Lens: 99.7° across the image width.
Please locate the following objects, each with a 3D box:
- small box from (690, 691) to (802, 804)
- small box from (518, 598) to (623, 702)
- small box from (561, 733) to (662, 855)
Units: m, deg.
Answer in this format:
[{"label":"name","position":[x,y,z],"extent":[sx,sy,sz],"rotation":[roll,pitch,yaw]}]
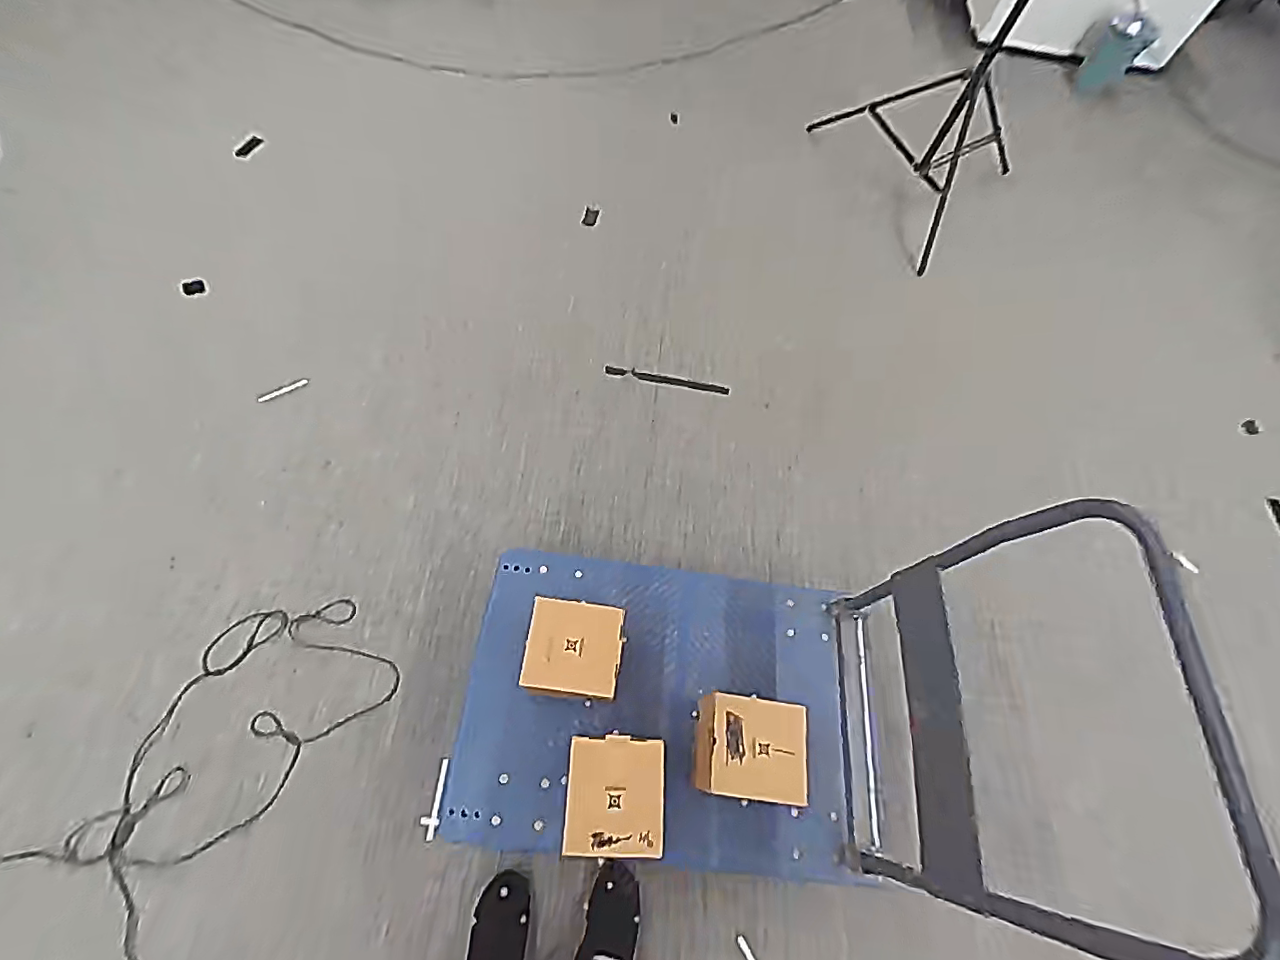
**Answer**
[{"label":"small box","position":[0.200,0.516,1.045],"extent":[0.179,0.176,0.168],"rotation":[10,63,-3]},{"label":"small box","position":[-0.136,0.348,1.090],"extent":[0.179,0.176,0.168],"rotation":[8,62,-2]},{"label":"small box","position":[-0.054,0.569,0.990],"extent":[0.168,0.176,0.179],"rotation":[4,62,-4]}]
